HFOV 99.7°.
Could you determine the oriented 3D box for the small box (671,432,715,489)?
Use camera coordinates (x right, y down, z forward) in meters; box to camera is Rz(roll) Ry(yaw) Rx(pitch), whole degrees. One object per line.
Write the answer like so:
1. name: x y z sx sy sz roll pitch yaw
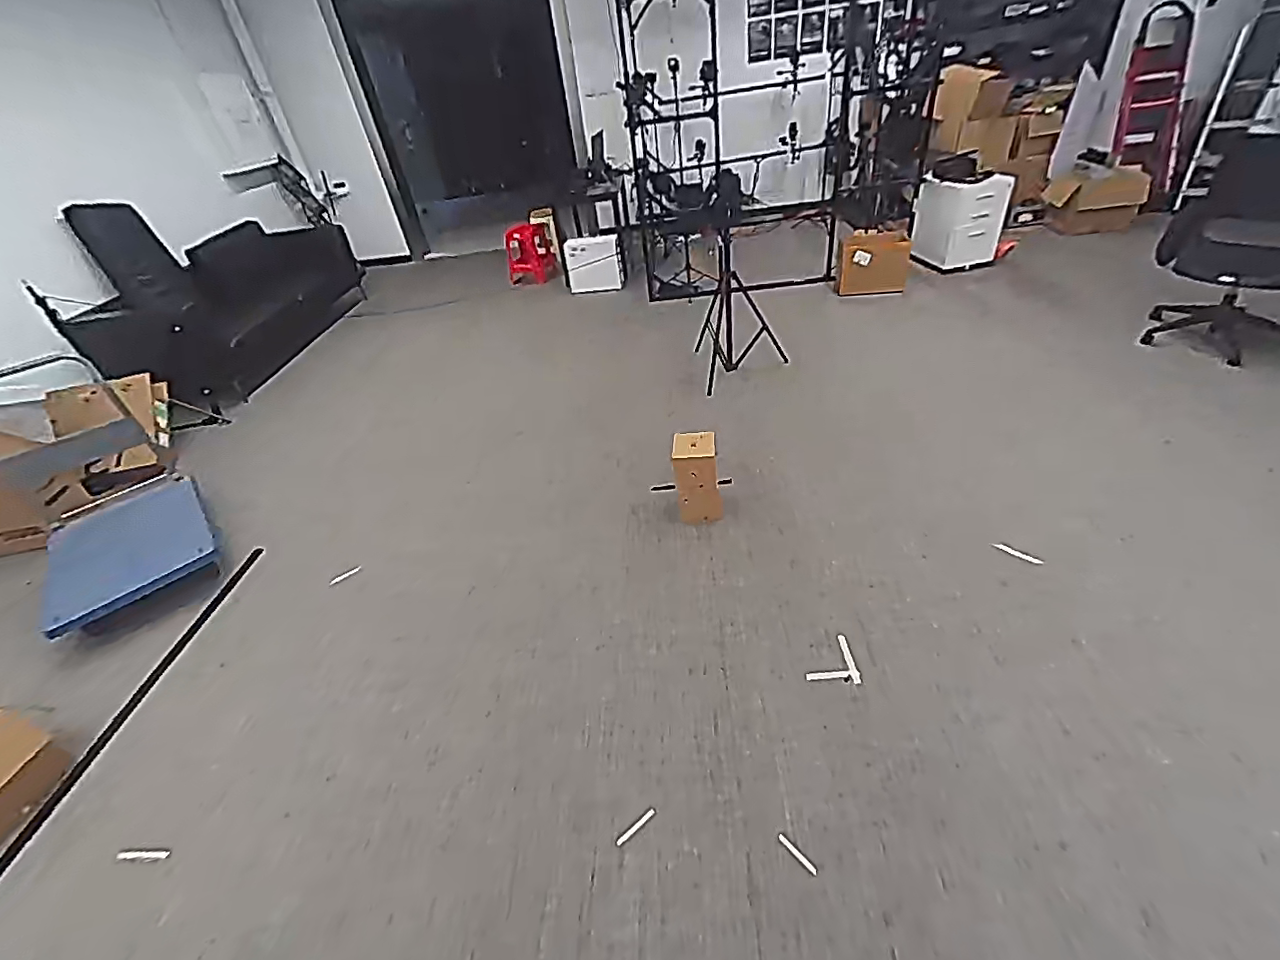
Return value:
1. small box: 0.217 -0.073 2.179 0.168 0.176 0.179 -2 37 9
